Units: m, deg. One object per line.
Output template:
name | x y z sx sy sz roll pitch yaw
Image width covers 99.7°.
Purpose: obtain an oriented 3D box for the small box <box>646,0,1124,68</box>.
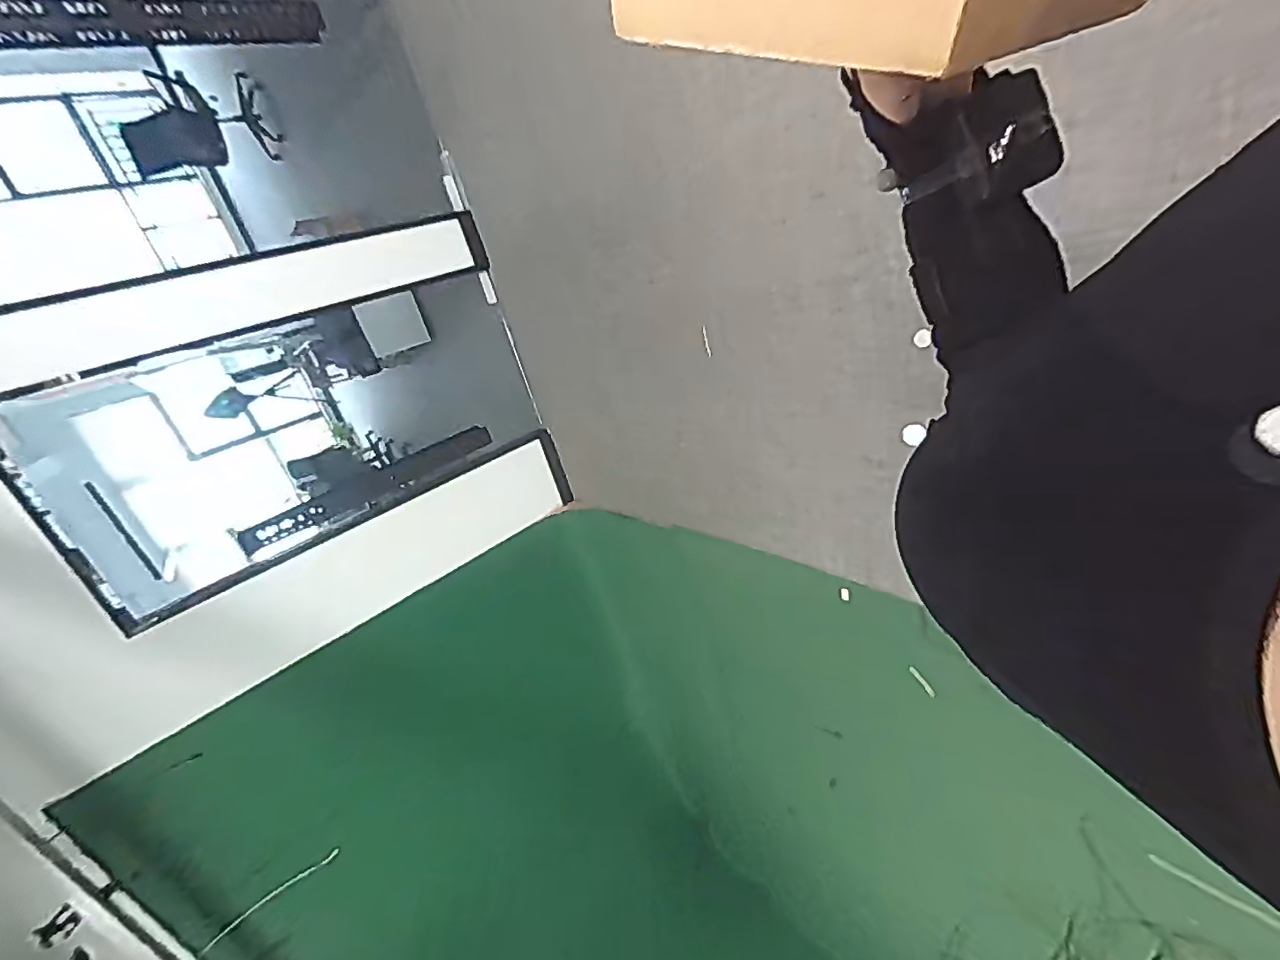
small box | 0.116 -0.276 0.199 0.179 0.176 0.168 40 152 35
